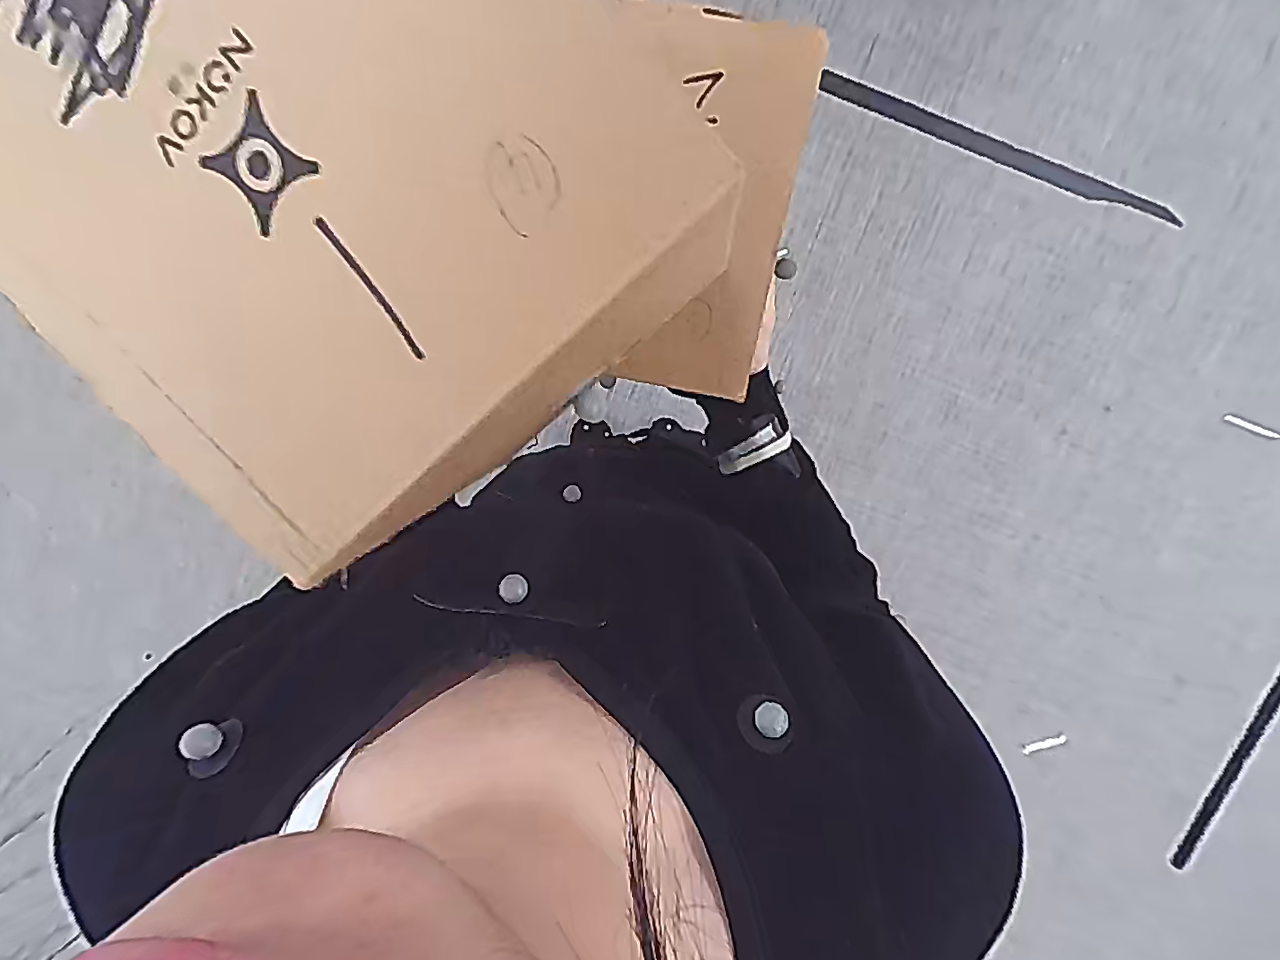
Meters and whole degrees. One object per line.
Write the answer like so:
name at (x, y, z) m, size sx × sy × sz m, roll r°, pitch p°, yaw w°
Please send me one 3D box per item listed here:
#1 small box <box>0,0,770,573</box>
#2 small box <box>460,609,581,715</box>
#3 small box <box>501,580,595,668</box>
small box at (-0.077, -0.103, 0.207) m, size 0.168 × 0.176 × 0.179 m, roll -39°, pitch 97°, yaw 15°
small box at (-0.197, 0.324, 0.826) m, size 0.168 × 0.176 × 0.179 m, roll 23°, pitch 98°, yaw -2°
small box at (-0.191, 0.307, 0.987) m, size 0.168 × 0.176 × 0.179 m, roll 26°, pitch 97°, yaw -1°
